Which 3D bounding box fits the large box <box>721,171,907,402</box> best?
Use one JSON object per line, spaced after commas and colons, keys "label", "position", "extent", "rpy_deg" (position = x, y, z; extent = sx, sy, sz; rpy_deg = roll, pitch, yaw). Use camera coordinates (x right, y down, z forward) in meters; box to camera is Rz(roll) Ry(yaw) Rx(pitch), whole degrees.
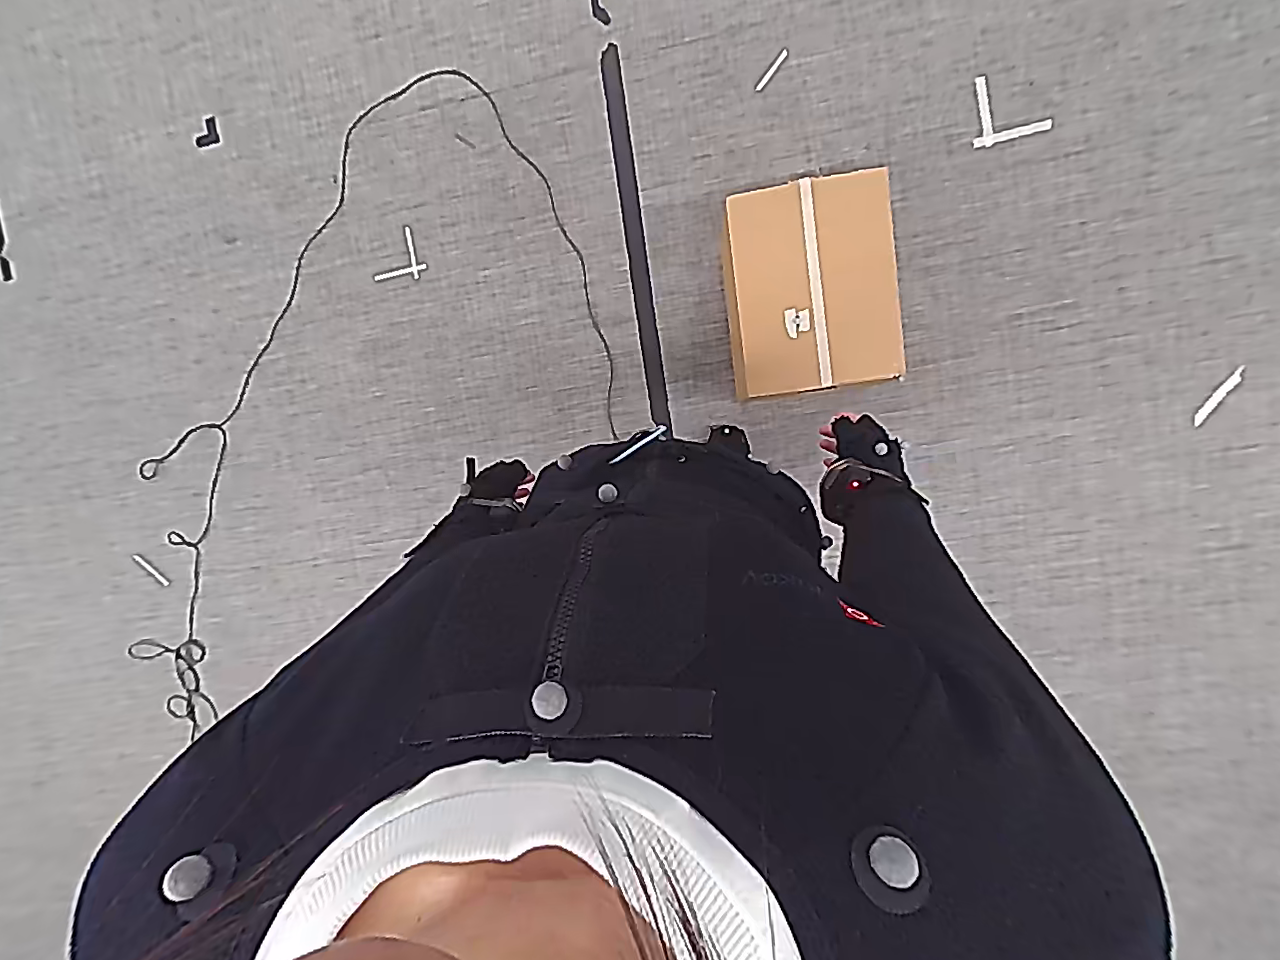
{"label": "large box", "position": [0.370, -0.402, 1.227], "extent": [0.320, 0.320, 0.408], "rpy_deg": [-8, 96, 8]}
